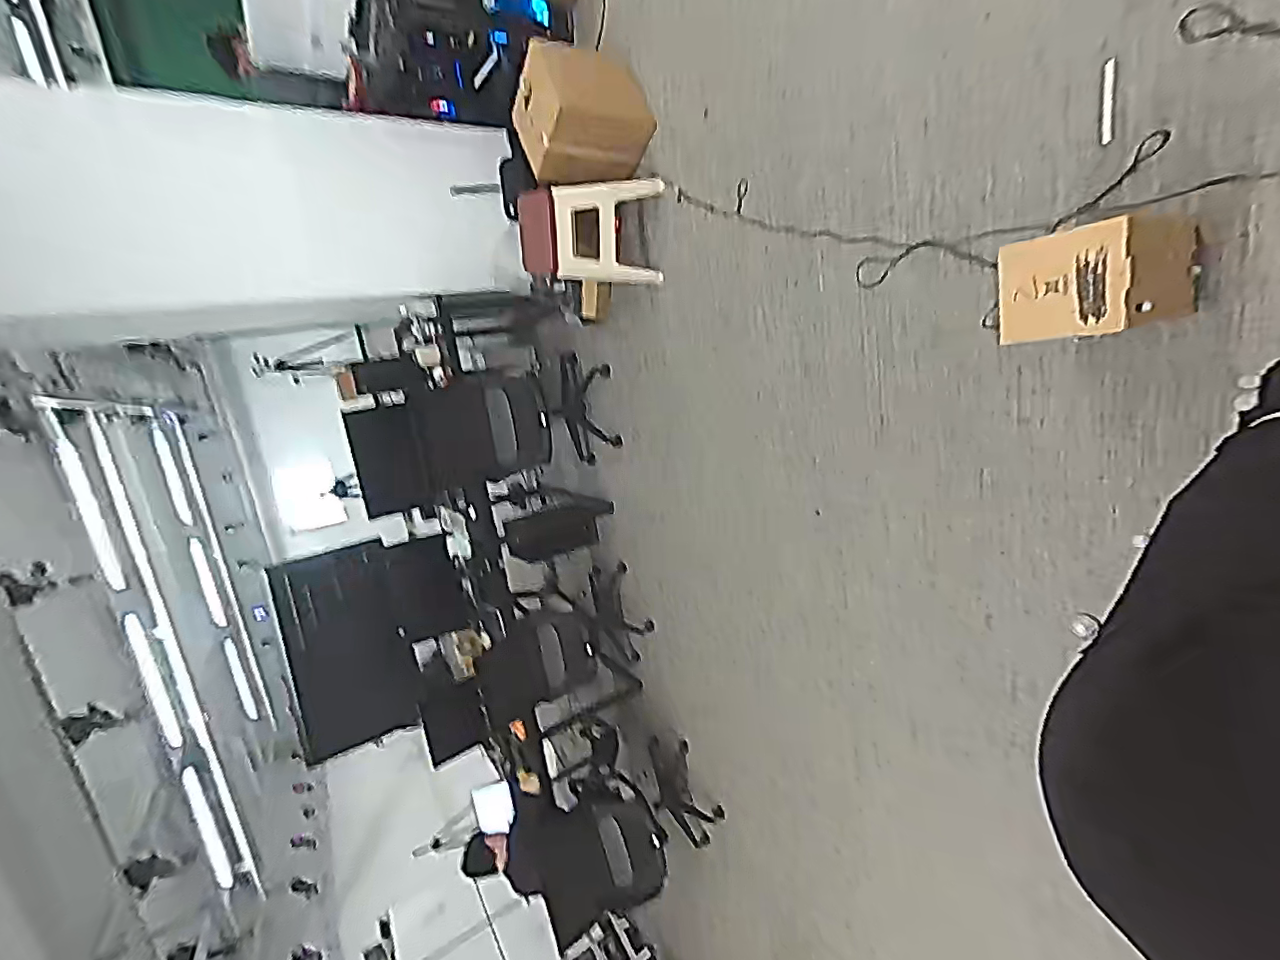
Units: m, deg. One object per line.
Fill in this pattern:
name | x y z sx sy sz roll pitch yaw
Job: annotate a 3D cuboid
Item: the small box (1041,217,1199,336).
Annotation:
small box | 0.869 -0.364 0.986 0.179 0.176 0.168 7 110 57
